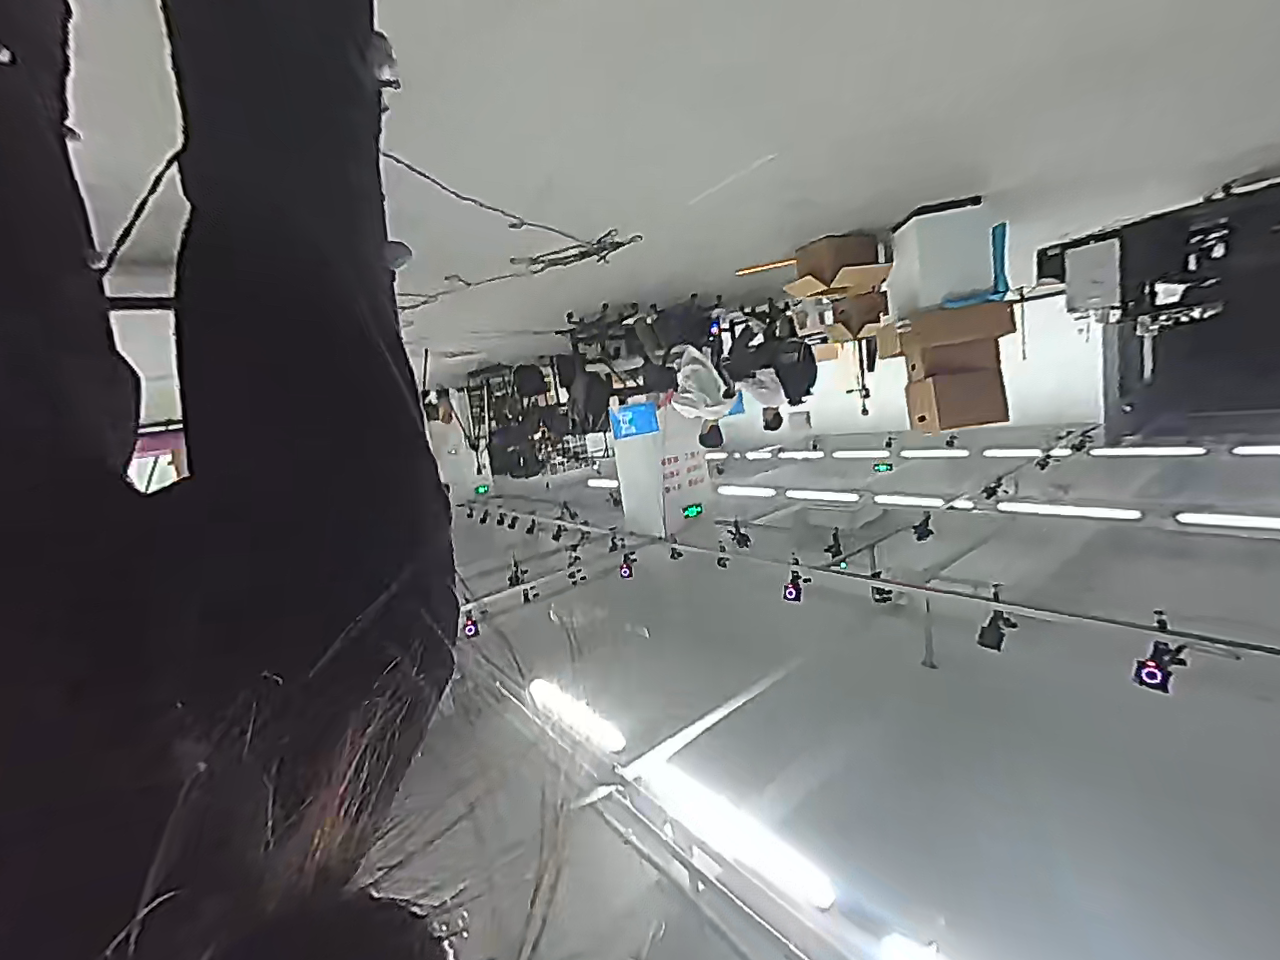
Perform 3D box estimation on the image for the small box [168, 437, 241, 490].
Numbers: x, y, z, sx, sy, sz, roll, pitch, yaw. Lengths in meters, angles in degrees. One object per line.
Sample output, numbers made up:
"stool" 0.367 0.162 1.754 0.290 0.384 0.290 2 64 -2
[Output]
"small box" -1.628 -0.068 2.021 0.179 0.176 0.168 -15 -168 -40
